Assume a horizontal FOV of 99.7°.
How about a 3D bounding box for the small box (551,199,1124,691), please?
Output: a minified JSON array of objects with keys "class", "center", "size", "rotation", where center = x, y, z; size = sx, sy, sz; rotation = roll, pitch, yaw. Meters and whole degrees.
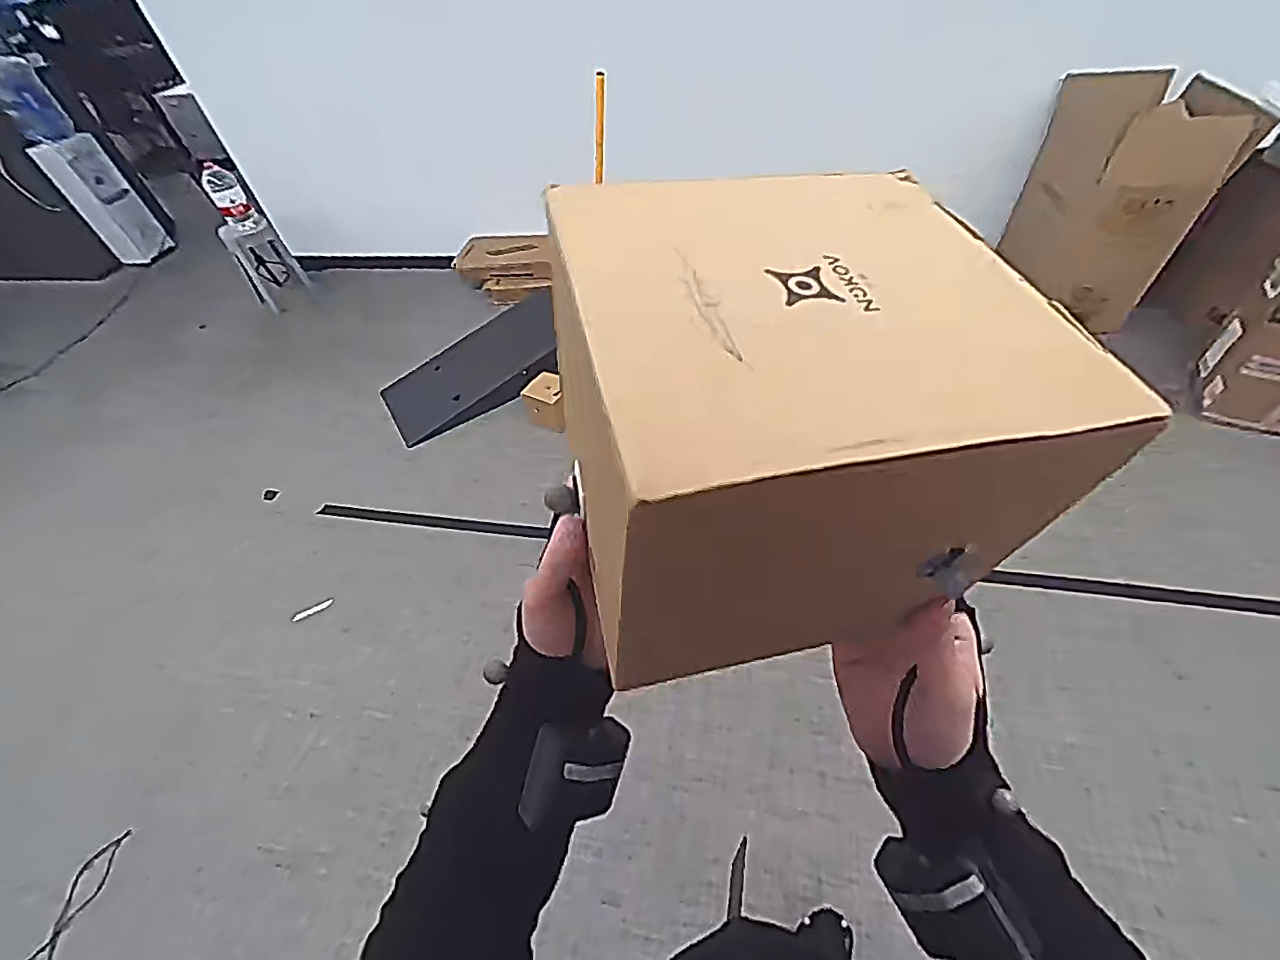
[{"class":"small box","center":[0.058,-0.014,0.274],"size":[0.179,0.176,0.168],"rotation":[-11,54,-11]}]
